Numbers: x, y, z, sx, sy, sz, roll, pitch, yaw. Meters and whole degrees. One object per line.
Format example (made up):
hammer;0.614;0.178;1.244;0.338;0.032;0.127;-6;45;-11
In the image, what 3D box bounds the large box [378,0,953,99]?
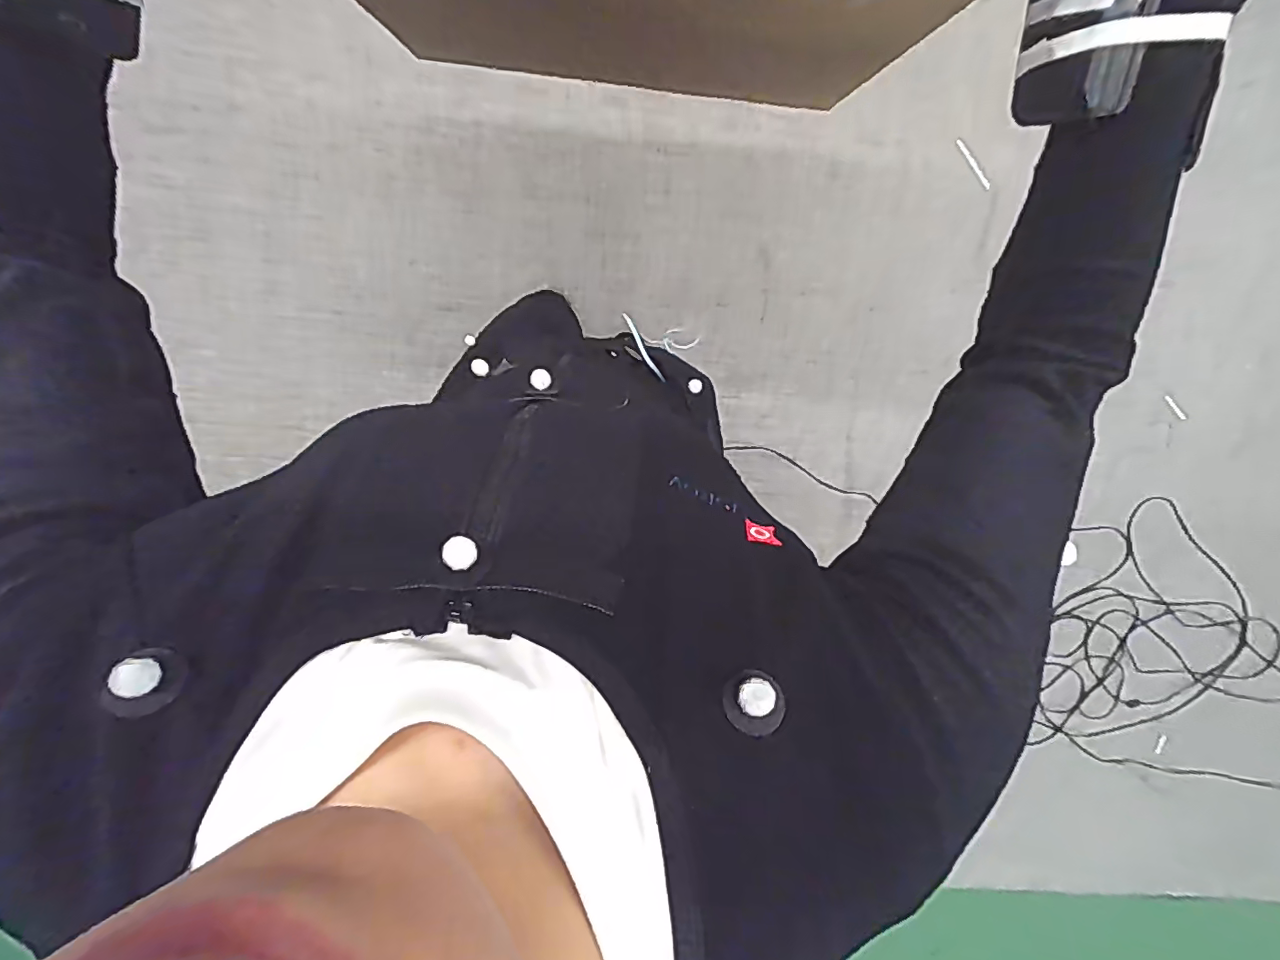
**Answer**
large box;0.011;-0.472;0.330;0.408;0.320;0.320;4;113;-4
